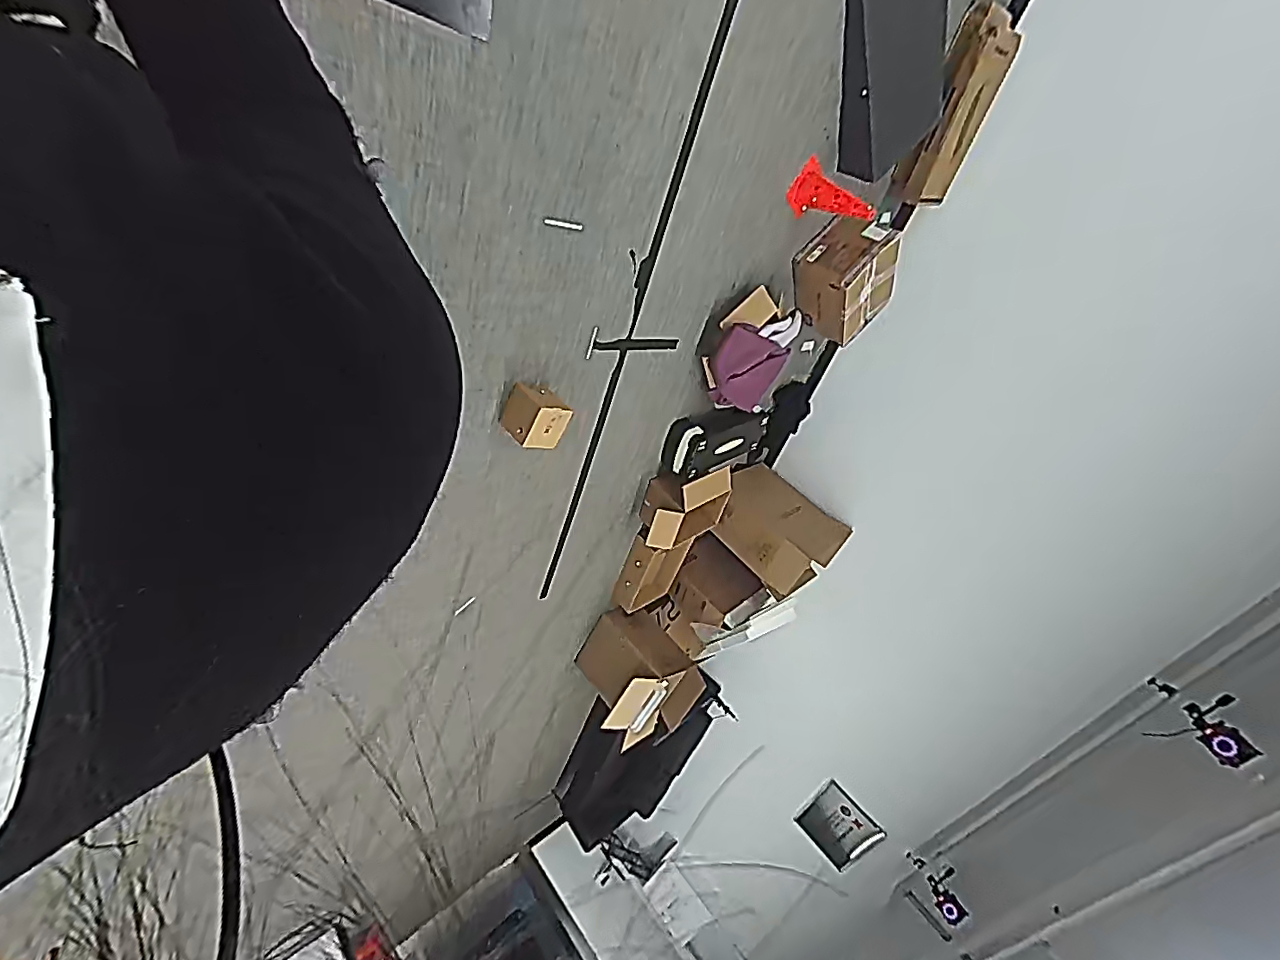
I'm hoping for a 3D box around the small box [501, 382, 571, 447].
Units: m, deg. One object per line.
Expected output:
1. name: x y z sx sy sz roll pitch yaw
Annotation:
1. small box: -0.401 -0.246 2.048 0.168 0.176 0.179 -1 127 -53
